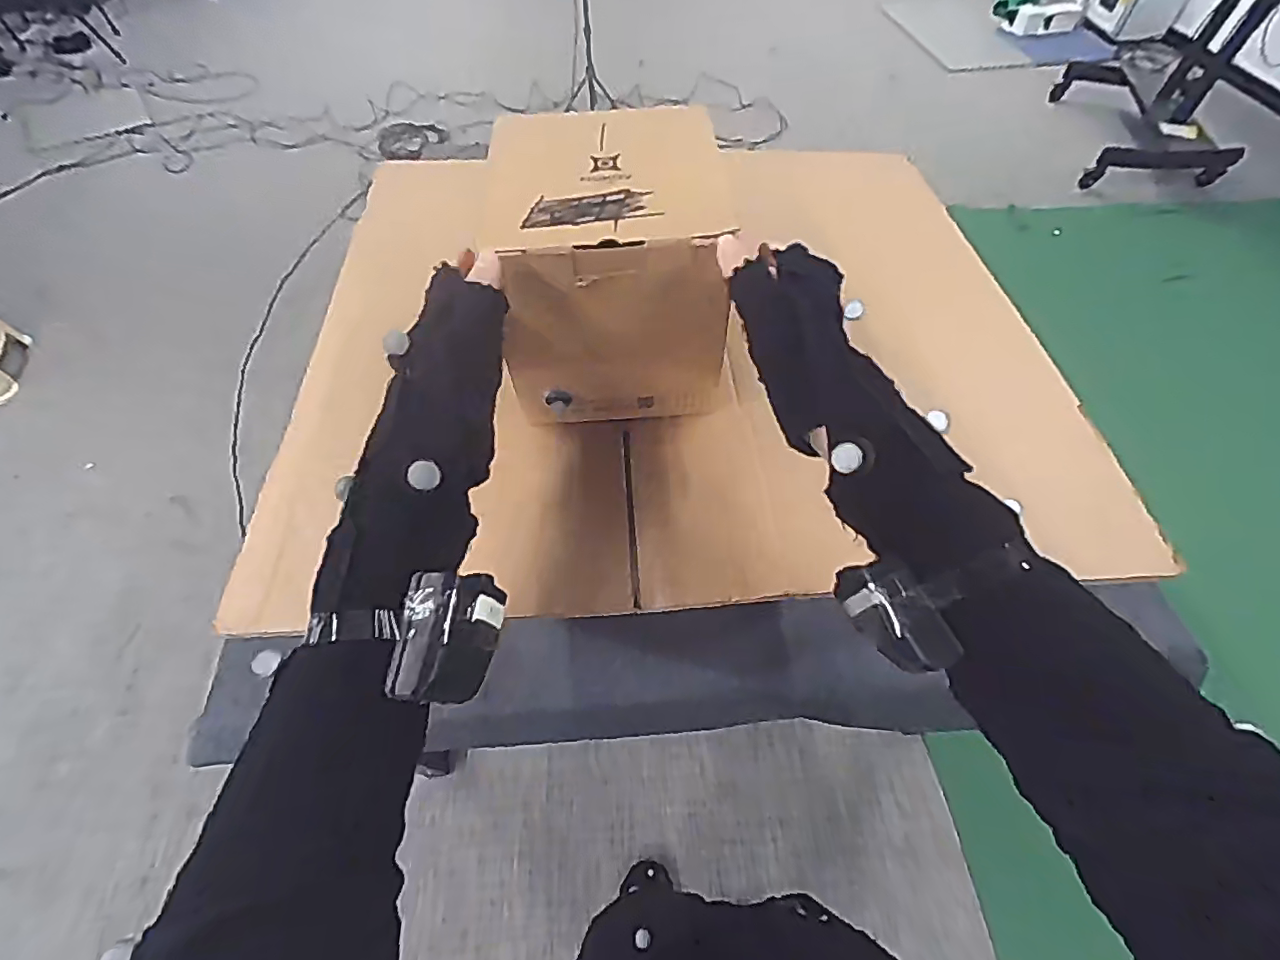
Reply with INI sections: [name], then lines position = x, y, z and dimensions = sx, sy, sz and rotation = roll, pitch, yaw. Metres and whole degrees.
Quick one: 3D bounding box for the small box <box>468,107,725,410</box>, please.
[small box]
position = -0.028, -0.171, 0.446
dimensions = 0.168, 0.176, 0.179
rotation = -4, 56, 0
